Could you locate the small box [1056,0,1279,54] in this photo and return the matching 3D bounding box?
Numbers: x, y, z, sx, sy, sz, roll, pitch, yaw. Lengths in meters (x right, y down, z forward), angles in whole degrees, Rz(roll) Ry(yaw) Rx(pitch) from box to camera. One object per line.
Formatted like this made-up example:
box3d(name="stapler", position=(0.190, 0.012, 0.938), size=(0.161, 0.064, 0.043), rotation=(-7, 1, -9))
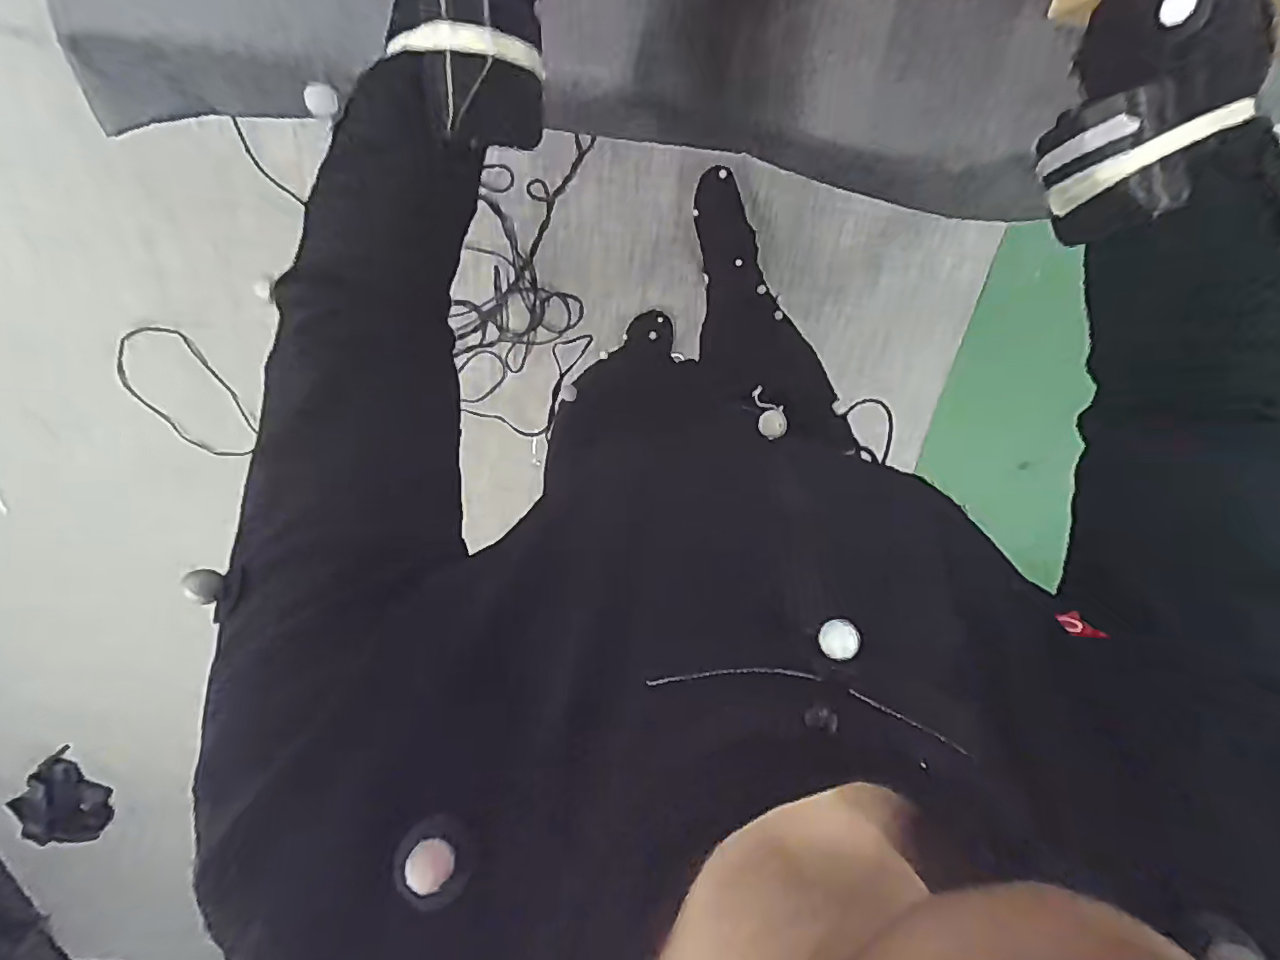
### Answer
box3d(name="small box", position=(0.420, -0.396, 0.335), size=(0.179, 0.176, 0.168), rotation=(8, 116, -3))
